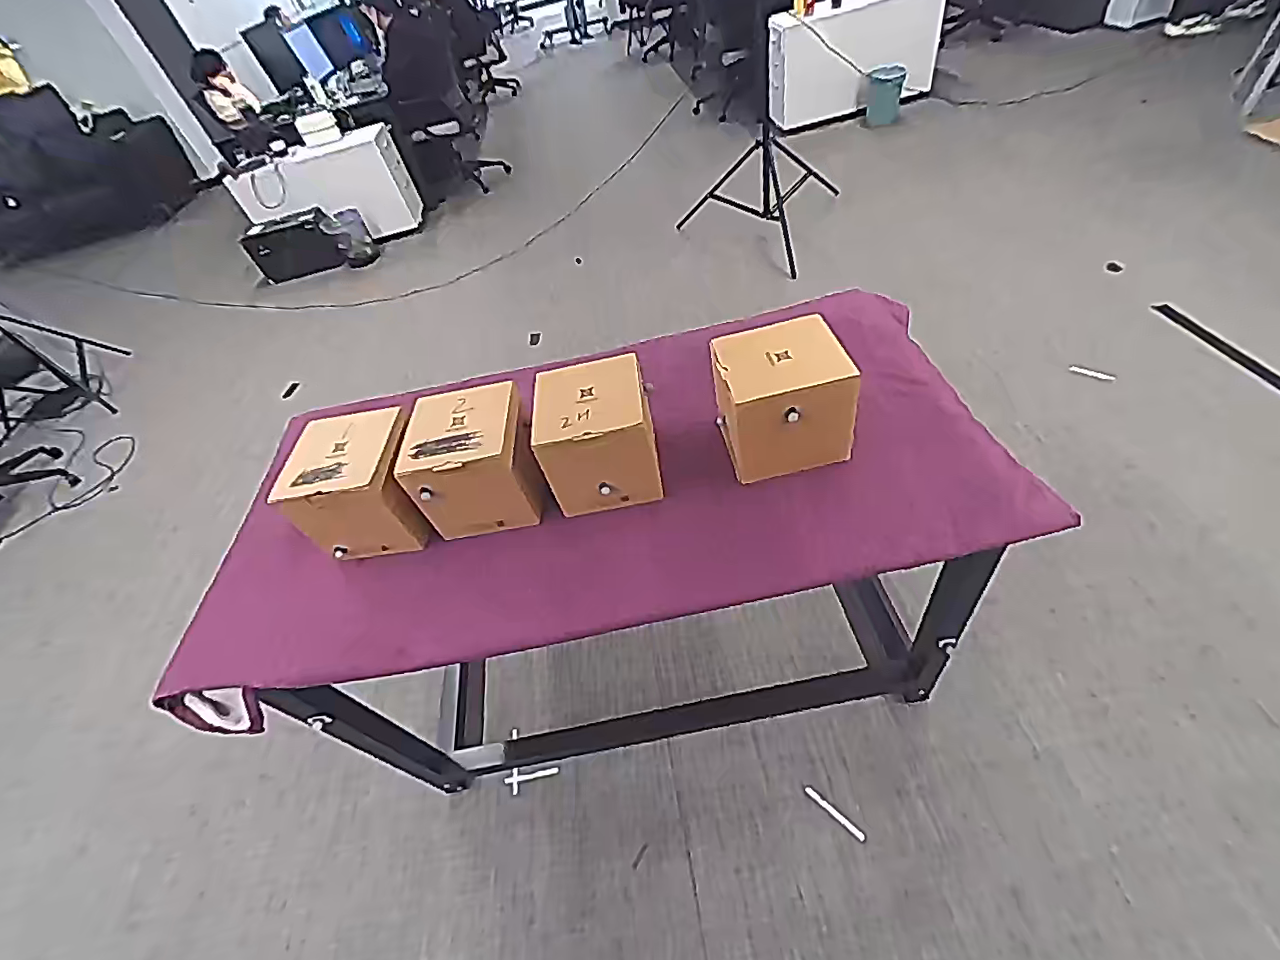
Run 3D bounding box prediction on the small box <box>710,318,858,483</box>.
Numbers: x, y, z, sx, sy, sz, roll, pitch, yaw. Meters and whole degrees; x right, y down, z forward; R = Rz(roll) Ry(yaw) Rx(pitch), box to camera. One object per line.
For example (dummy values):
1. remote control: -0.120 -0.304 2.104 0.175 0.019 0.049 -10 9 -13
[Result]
1. small box: 0.217 -0.120 0.845 0.179 0.176 0.168 -13 46 4
